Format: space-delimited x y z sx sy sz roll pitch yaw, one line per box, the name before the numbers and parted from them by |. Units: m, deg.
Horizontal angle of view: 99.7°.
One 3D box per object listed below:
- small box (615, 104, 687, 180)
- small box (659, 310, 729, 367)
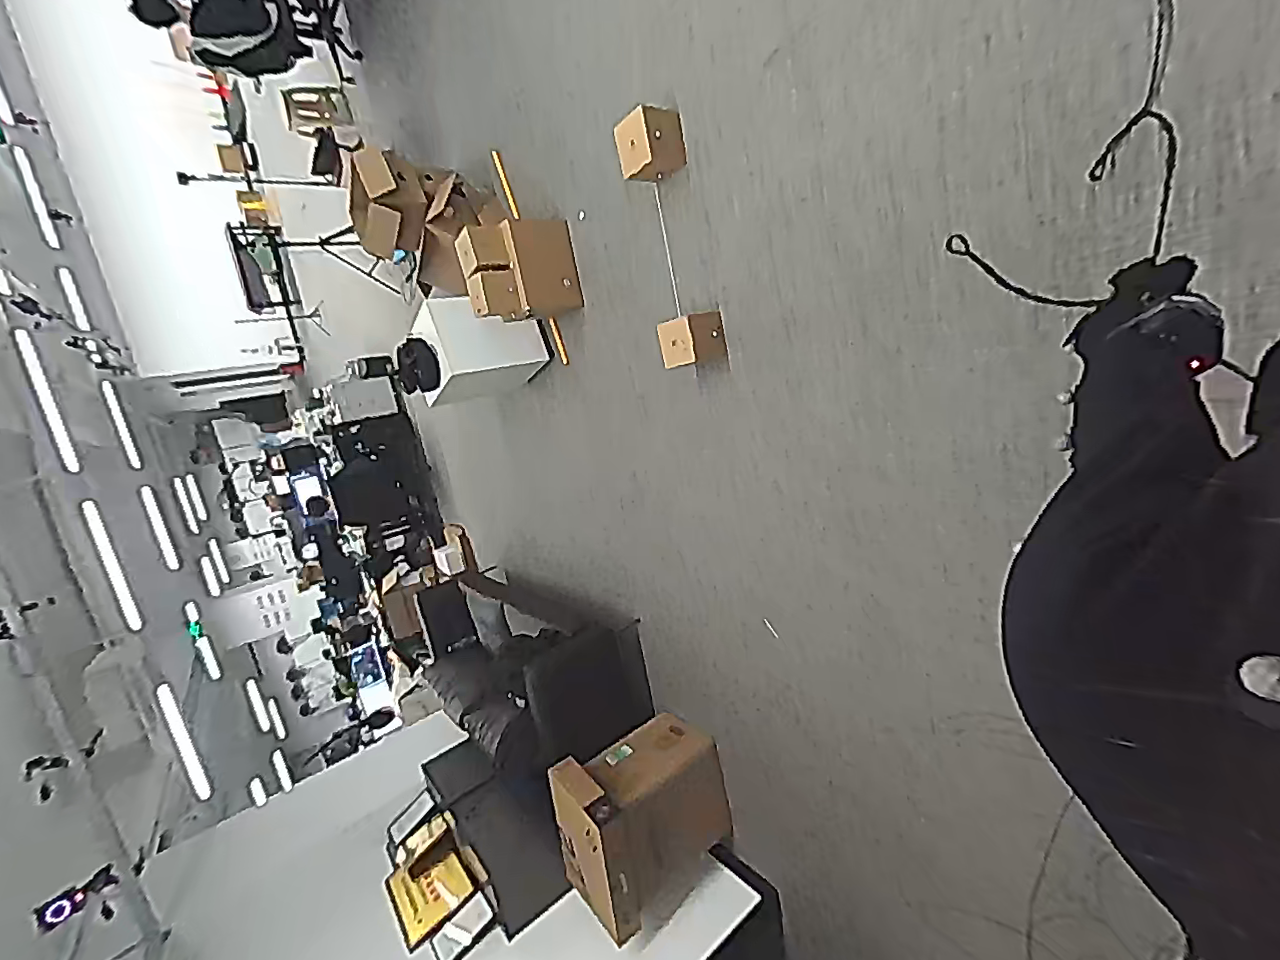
small box | 0.040 -1.181 1.901 0.168 0.176 0.179 1 107 53
small box | 0.202 -0.523 2.007 0.179 0.176 0.168 1 107 54
